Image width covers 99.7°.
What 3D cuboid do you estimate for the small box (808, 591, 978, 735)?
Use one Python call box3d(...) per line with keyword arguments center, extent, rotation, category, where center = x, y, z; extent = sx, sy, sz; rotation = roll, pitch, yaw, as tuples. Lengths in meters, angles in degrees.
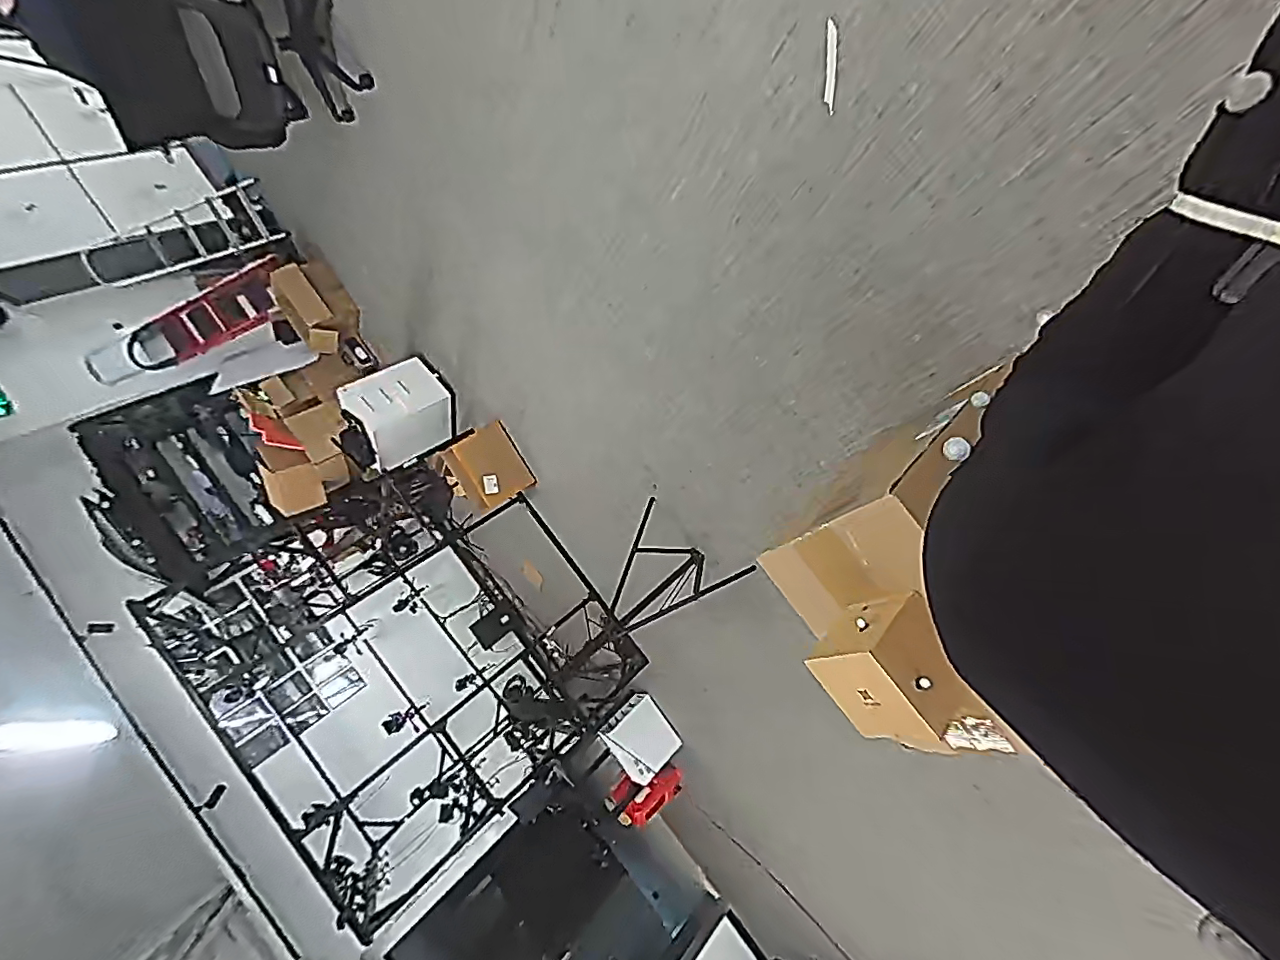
box3d(center=(0.440, 0.313, 0.943), extent=(0.179, 0.176, 0.168), rotation=(51, 148, 4), category="small box")
